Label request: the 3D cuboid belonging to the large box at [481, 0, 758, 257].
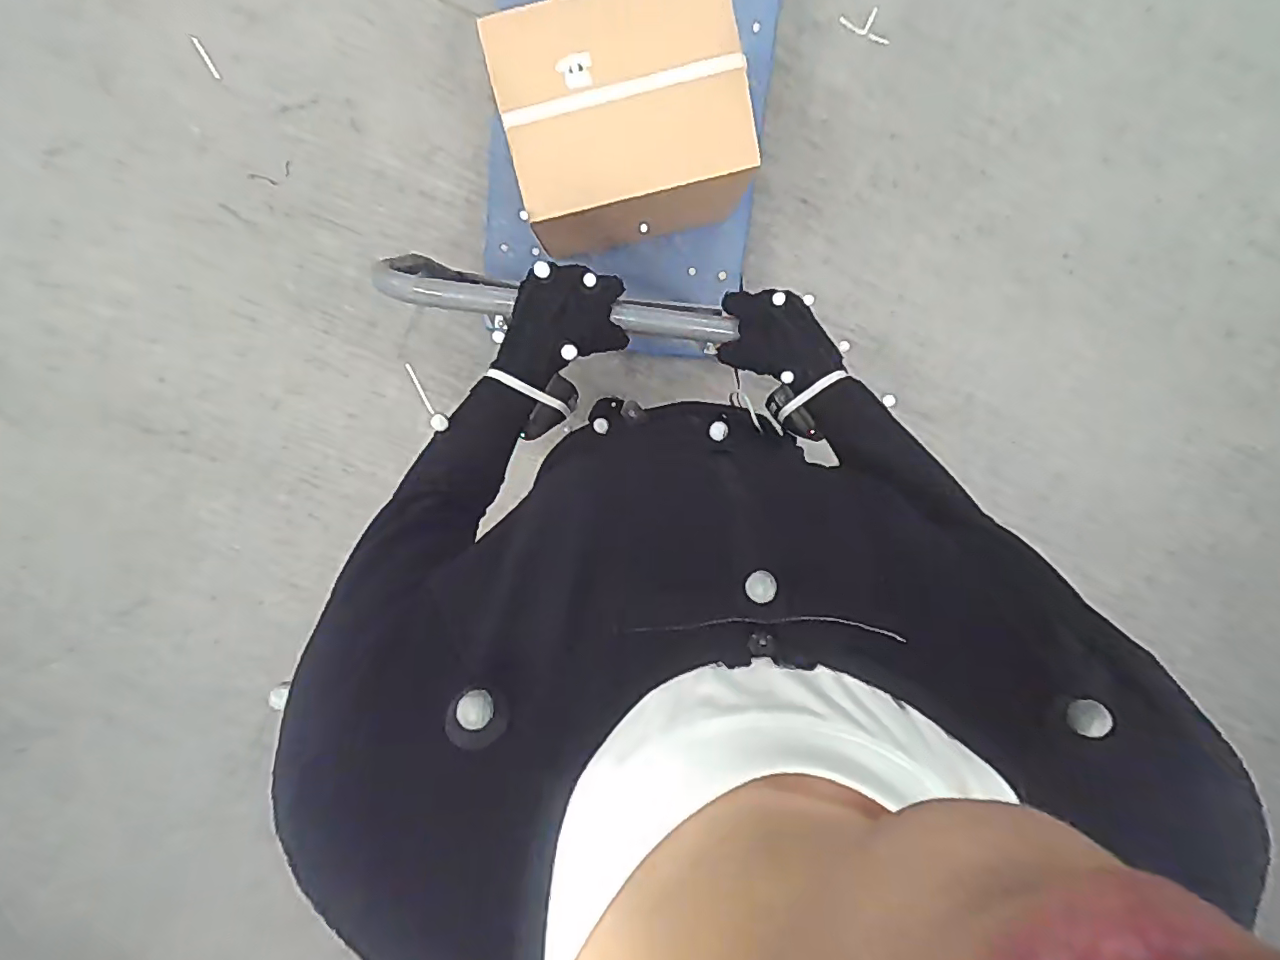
[{"bbox_3d":[-0.029,-0.659,1.031,0.408,0.320,0.320,-14,100,2],"label":"large box"}]
